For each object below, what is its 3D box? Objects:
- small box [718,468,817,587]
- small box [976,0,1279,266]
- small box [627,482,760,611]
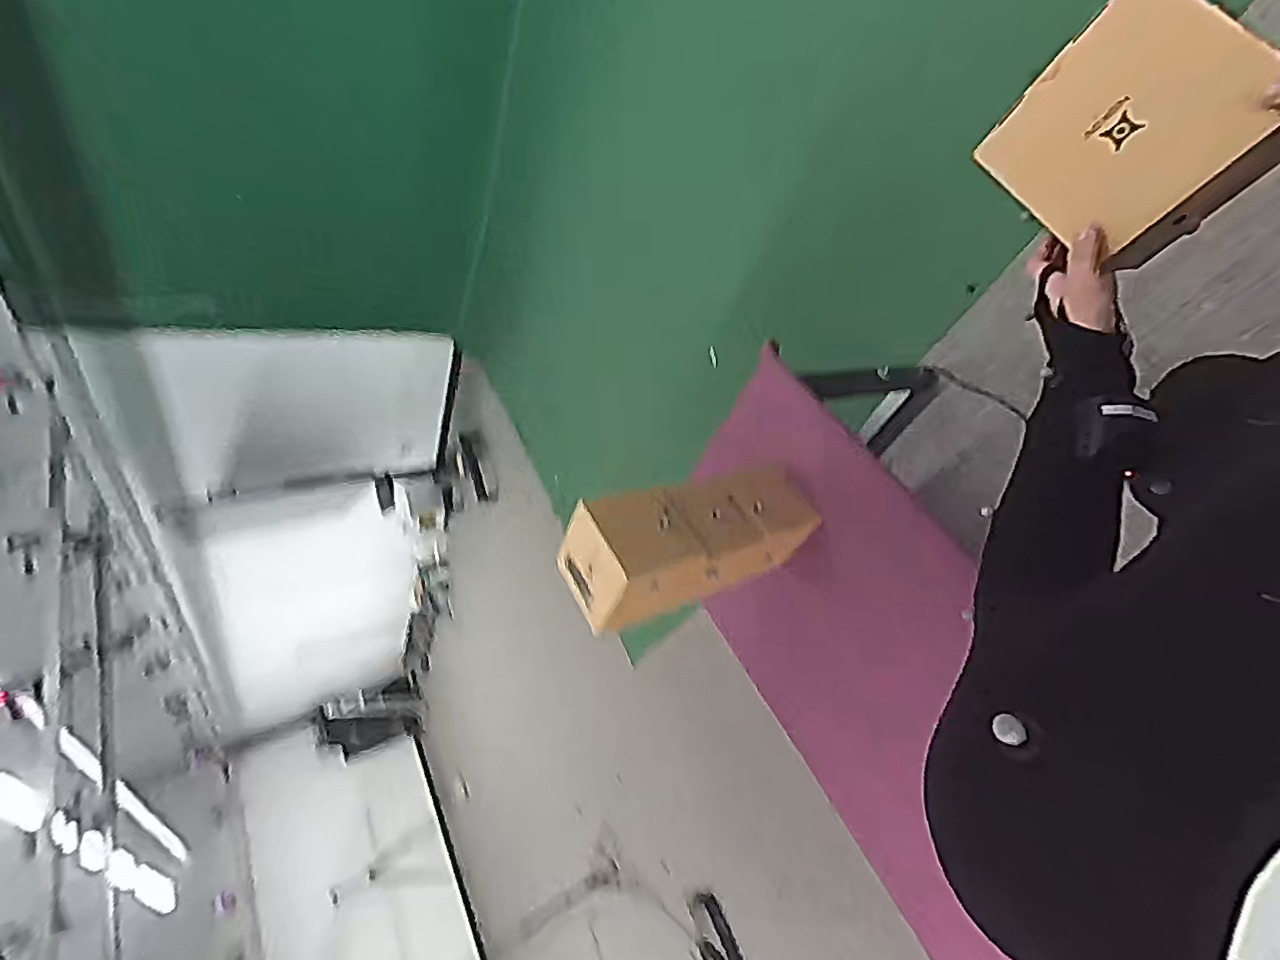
[{"bbox_3d":[0.240,0.097,1.152,0.168,0.176,0.179,55,139,28],"label":"small box"},{"bbox_3d":[0.481,-0.331,0.516,0.179,0.176,0.168,61,143,18],"label":"small box"},{"bbox_3d":[0.108,0.124,1.058,0.168,0.176,0.179,57,140,28],"label":"small box"}]
